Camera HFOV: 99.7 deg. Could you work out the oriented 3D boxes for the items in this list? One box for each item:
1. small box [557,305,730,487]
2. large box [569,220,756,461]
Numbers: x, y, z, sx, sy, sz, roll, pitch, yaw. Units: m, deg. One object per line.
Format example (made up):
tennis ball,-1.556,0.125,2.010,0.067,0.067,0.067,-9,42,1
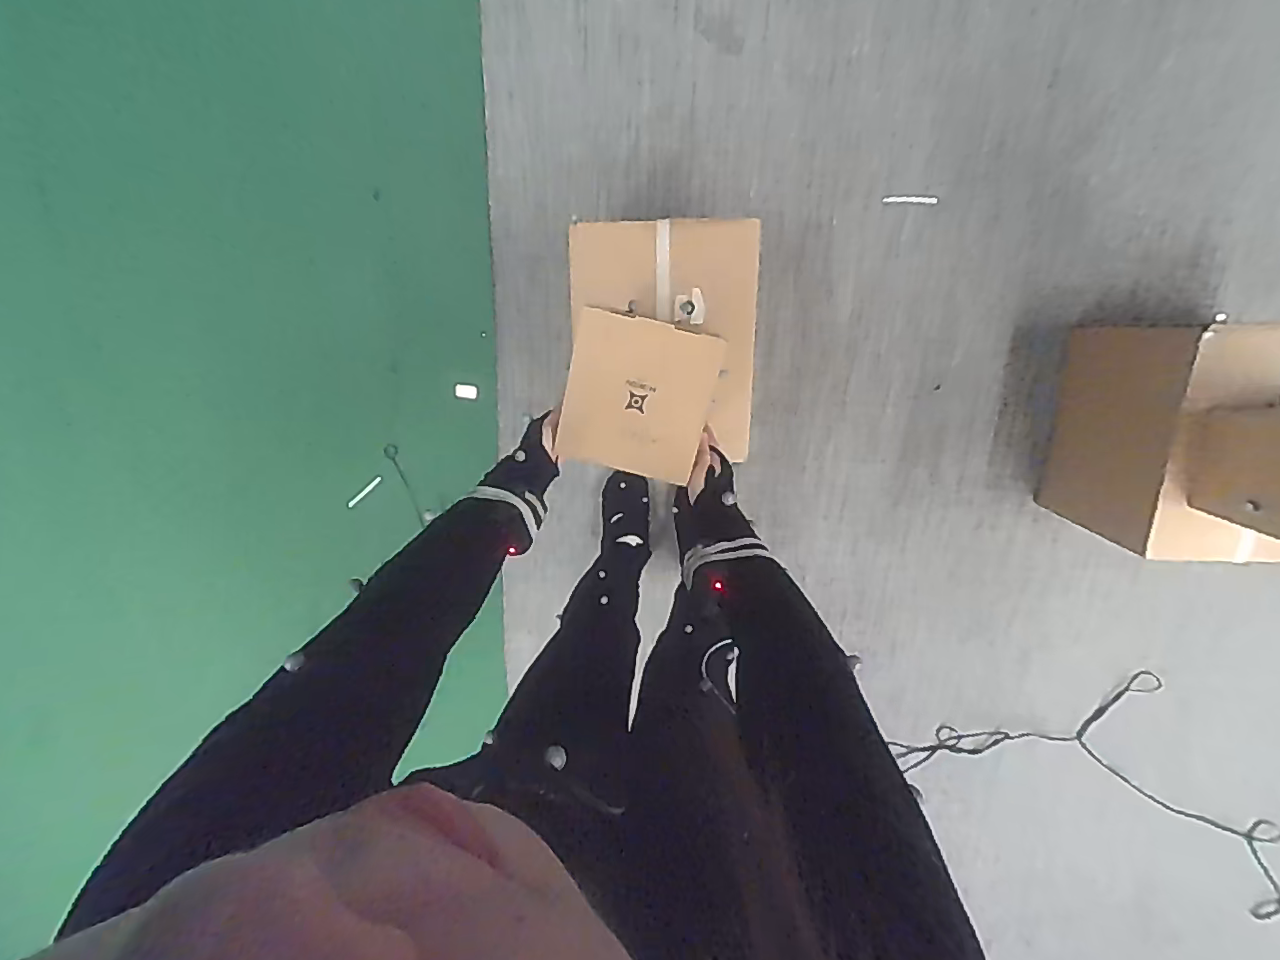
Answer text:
small box,0.007,-0.114,0.693,0.168,0.176,0.179,15,107,1
large box,0.049,-0.263,1.071,0.320,0.320,0.408,1,105,4
